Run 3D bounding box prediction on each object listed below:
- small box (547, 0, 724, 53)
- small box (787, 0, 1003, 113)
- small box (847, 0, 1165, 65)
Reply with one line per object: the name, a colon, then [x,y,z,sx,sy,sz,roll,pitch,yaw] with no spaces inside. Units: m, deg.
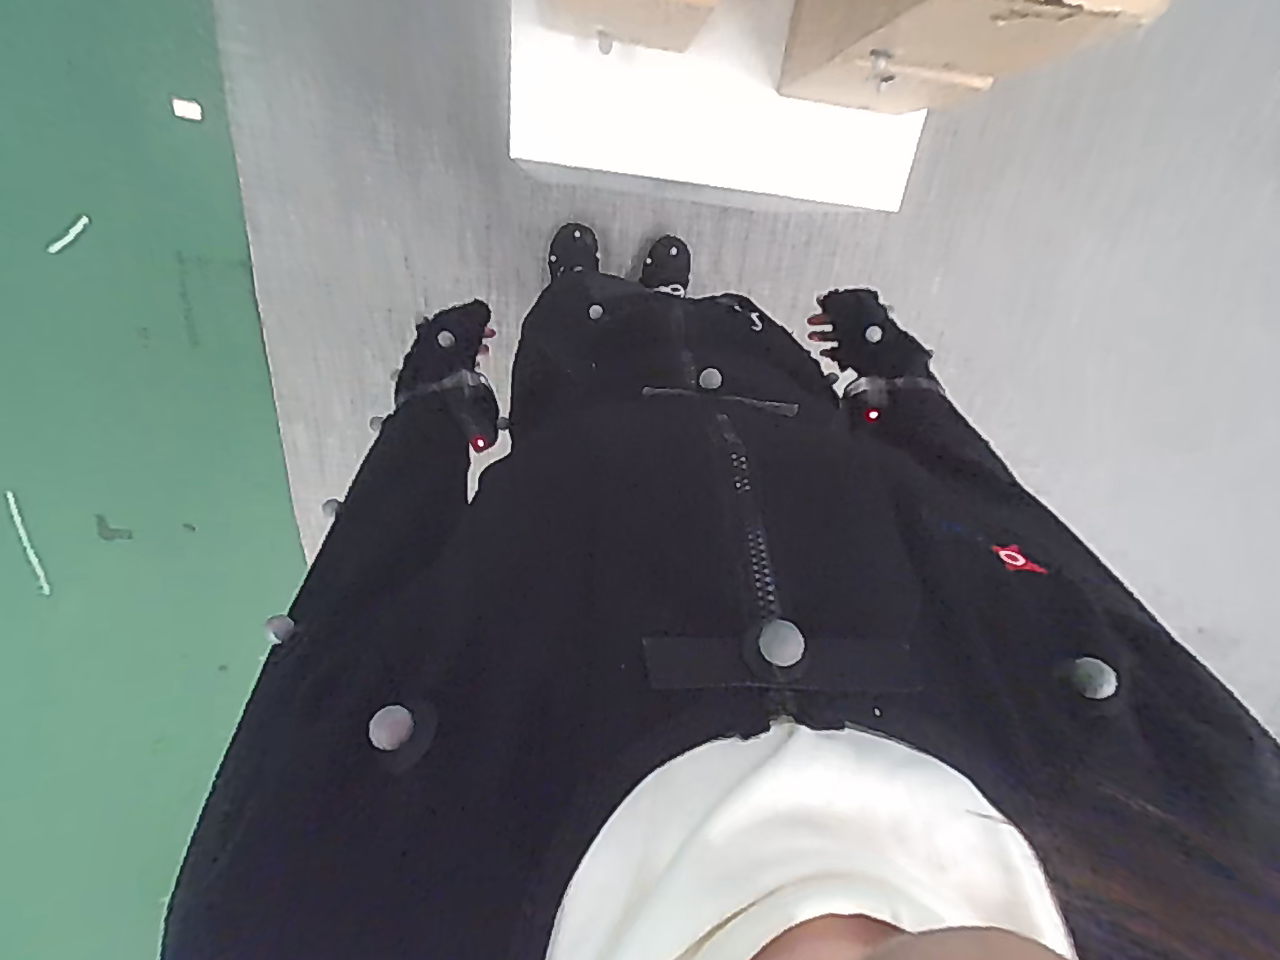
small box: [-0.006,-0.534,0.503,0.168,0.176,0.179,2,118,-6]
small box: [0.265,-0.499,0.546,0.168,0.176,0.179,4,115,-7]
small box: [0.274,-0.432,0.396,0.168,0.176,0.179,1,116,-6]
